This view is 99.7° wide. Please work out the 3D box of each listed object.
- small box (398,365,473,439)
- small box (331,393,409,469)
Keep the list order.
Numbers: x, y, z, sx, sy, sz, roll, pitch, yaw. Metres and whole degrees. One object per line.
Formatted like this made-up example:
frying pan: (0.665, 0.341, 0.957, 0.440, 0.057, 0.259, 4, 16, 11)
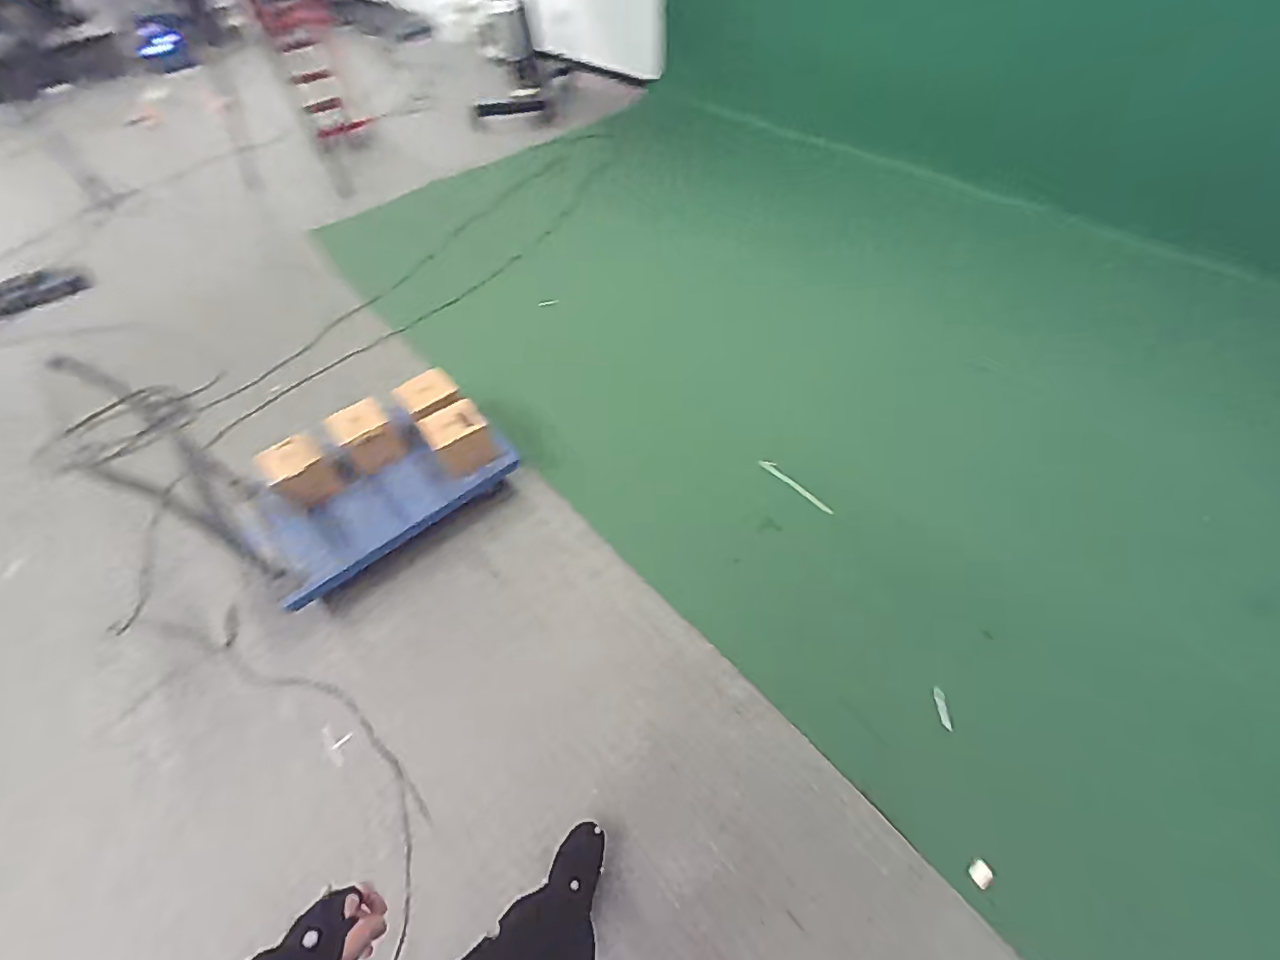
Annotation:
small box: (-0.744, -0.283, 1.983, 0.179, 0.176, 0.168, -34, 58, -20)
small box: (-0.950, -0.171, 1.911, 0.168, 0.176, 0.179, -32, 57, -19)
